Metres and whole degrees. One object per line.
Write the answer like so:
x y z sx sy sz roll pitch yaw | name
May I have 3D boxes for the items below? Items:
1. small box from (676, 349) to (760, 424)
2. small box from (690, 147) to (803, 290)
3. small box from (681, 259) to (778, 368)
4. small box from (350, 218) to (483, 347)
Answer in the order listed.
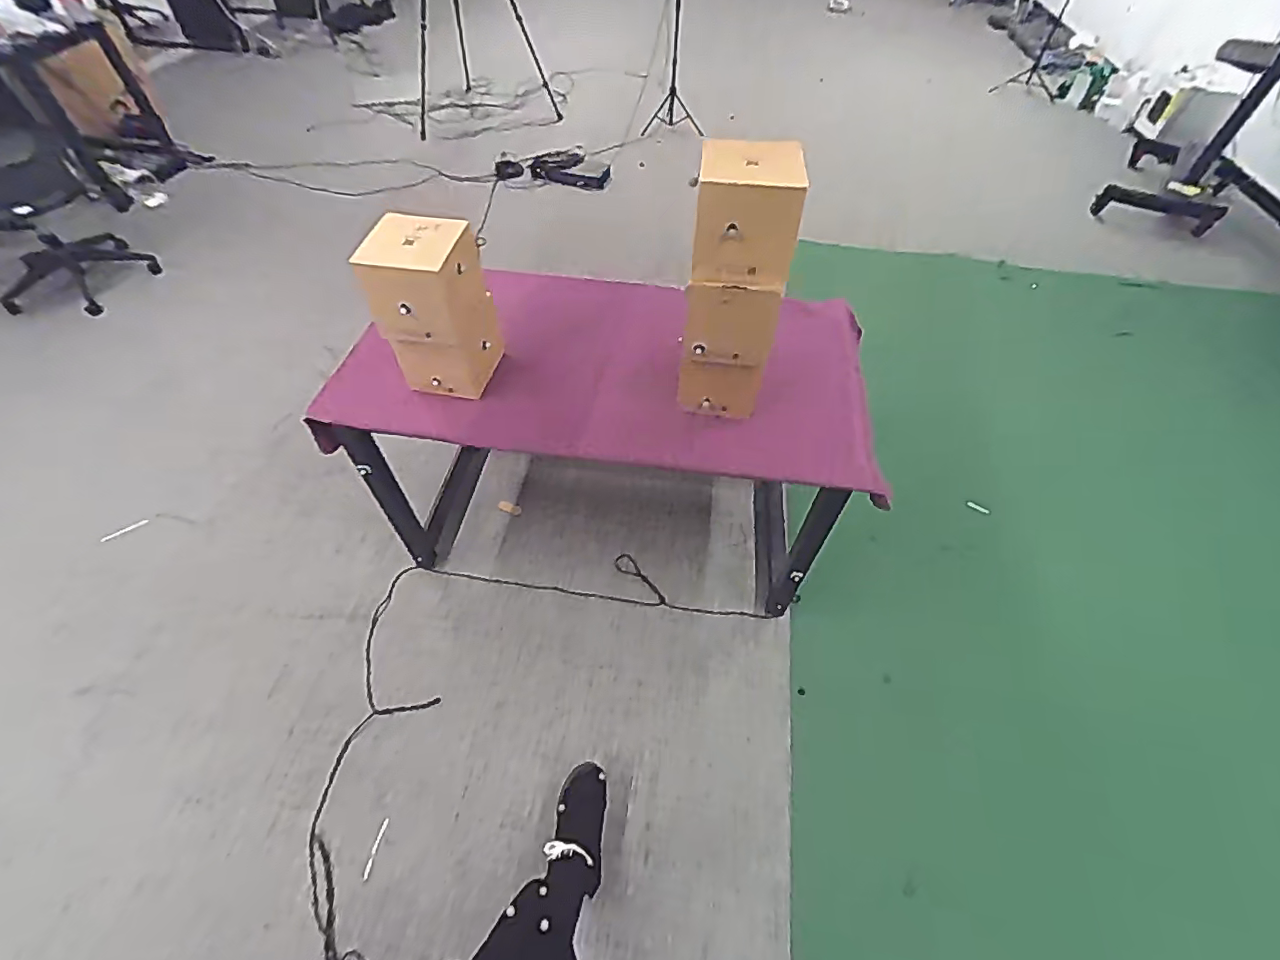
0.171 -0.249 1.186 0.168 0.176 0.179 8 52 6 | small box
0.175 -0.445 0.925 0.168 0.176 0.179 5 50 4 | small box
0.170 -0.336 1.045 0.168 0.176 0.179 6 50 5 | small box
-0.423 -0.383 1.058 0.168 0.176 0.179 7 53 3 | small box
